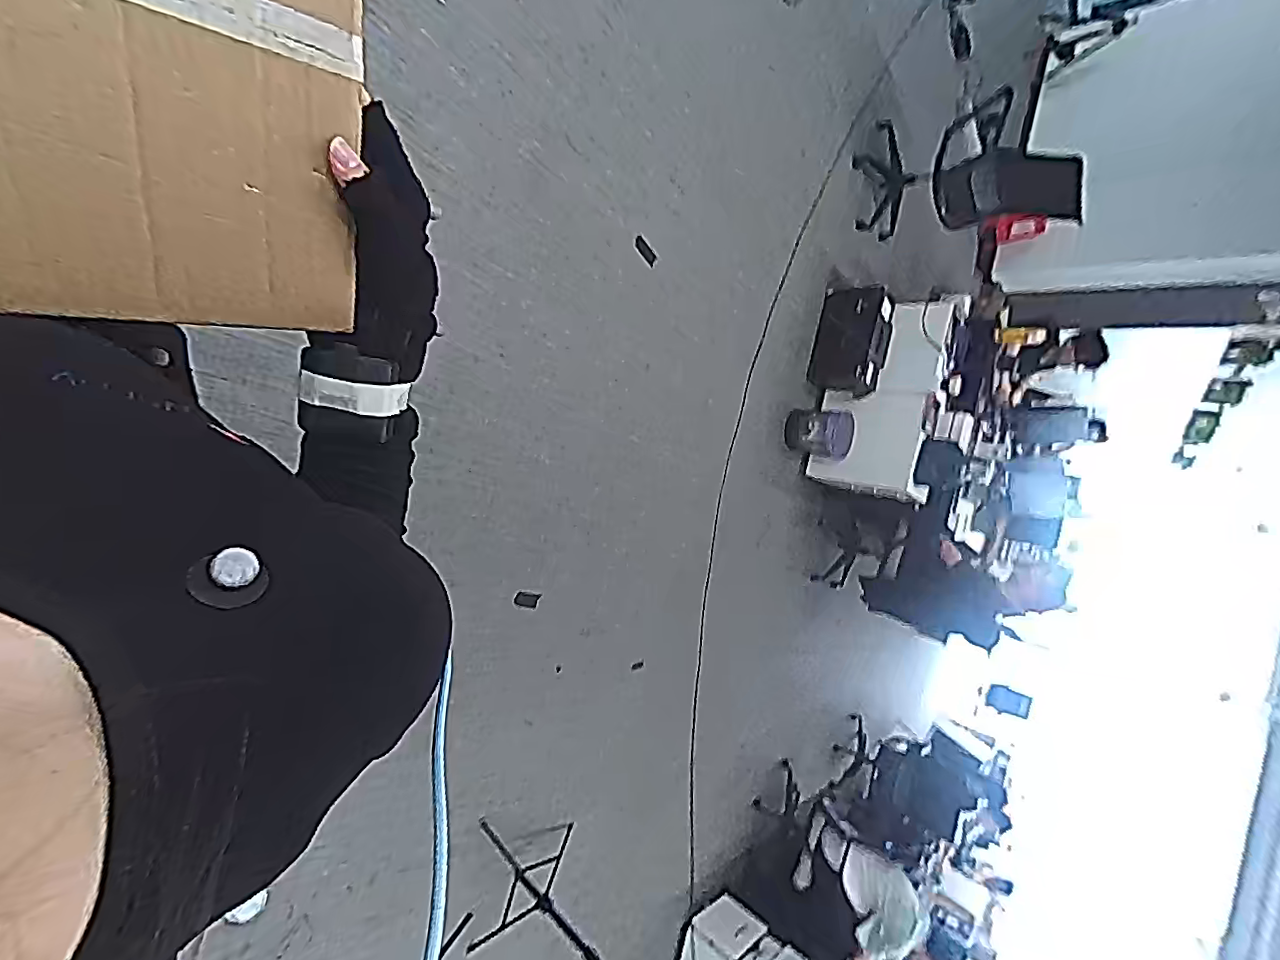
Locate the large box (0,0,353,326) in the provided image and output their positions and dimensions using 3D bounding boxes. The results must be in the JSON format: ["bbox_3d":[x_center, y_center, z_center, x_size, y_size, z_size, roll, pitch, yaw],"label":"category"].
[{"bbox_3d":[-0.408,-0.283,0.269,0.408,0.320,0.320,-10,128,-42],"label":"large box"}]
